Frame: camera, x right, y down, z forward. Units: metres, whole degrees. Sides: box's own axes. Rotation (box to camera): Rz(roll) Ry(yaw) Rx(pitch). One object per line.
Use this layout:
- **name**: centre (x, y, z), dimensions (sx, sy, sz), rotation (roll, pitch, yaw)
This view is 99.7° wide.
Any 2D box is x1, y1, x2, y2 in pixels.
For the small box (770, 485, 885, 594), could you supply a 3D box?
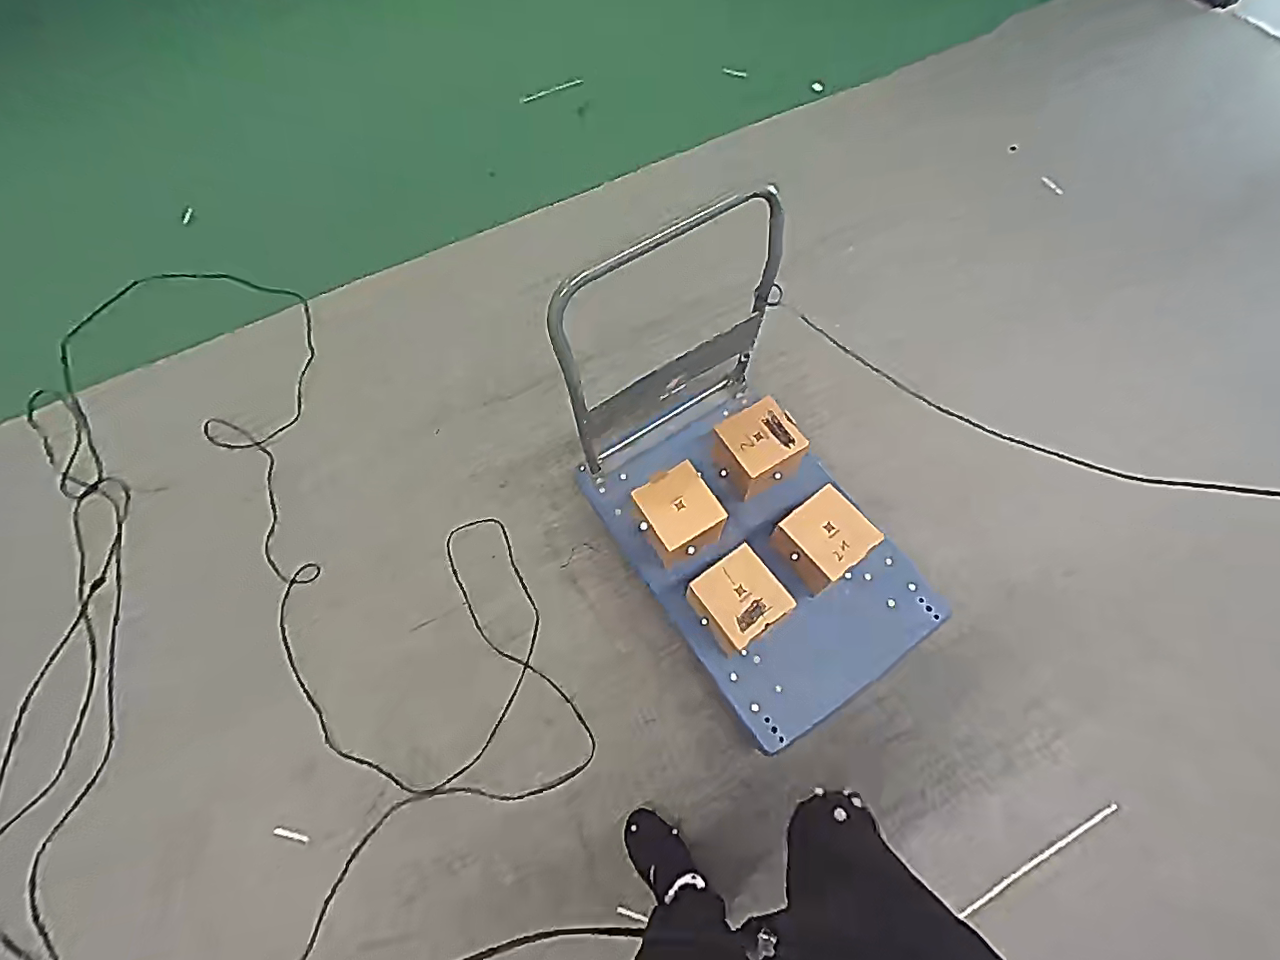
- **small box**: centre (0.436, 0.148, 1.293), dimensions (0.168, 0.176, 0.179), rotation (-36, 70, -12)

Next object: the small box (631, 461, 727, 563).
- **small box**: centre (0.094, 0.088, 1.333), dimensions (0.168, 0.176, 0.179), rotation (-30, 68, -11)

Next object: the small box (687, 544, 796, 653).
- **small box**: centre (0.224, 0.280, 1.243), dimensions (0.168, 0.176, 0.179), rotation (-33, 69, -13)
